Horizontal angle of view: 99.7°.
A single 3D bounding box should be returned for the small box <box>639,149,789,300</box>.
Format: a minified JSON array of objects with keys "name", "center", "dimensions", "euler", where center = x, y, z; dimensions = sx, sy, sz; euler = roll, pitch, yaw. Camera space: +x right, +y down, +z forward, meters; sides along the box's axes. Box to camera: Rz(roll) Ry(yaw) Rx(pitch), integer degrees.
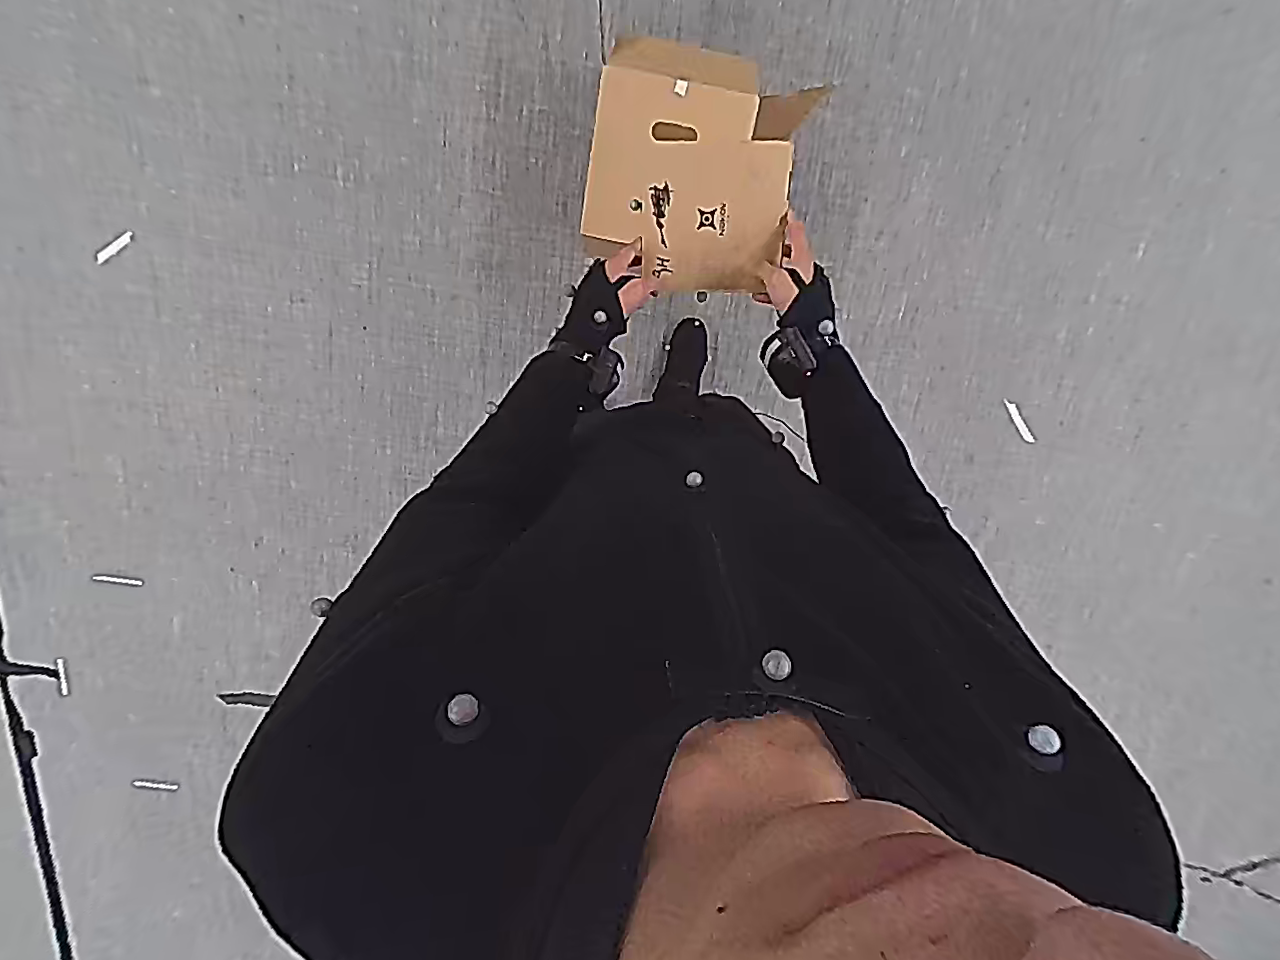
[{"name":"small box","center":[0.088,-0.340,0.736],"dimensions":[0.179,0.176,0.168],"euler":[1,112,1]}]
